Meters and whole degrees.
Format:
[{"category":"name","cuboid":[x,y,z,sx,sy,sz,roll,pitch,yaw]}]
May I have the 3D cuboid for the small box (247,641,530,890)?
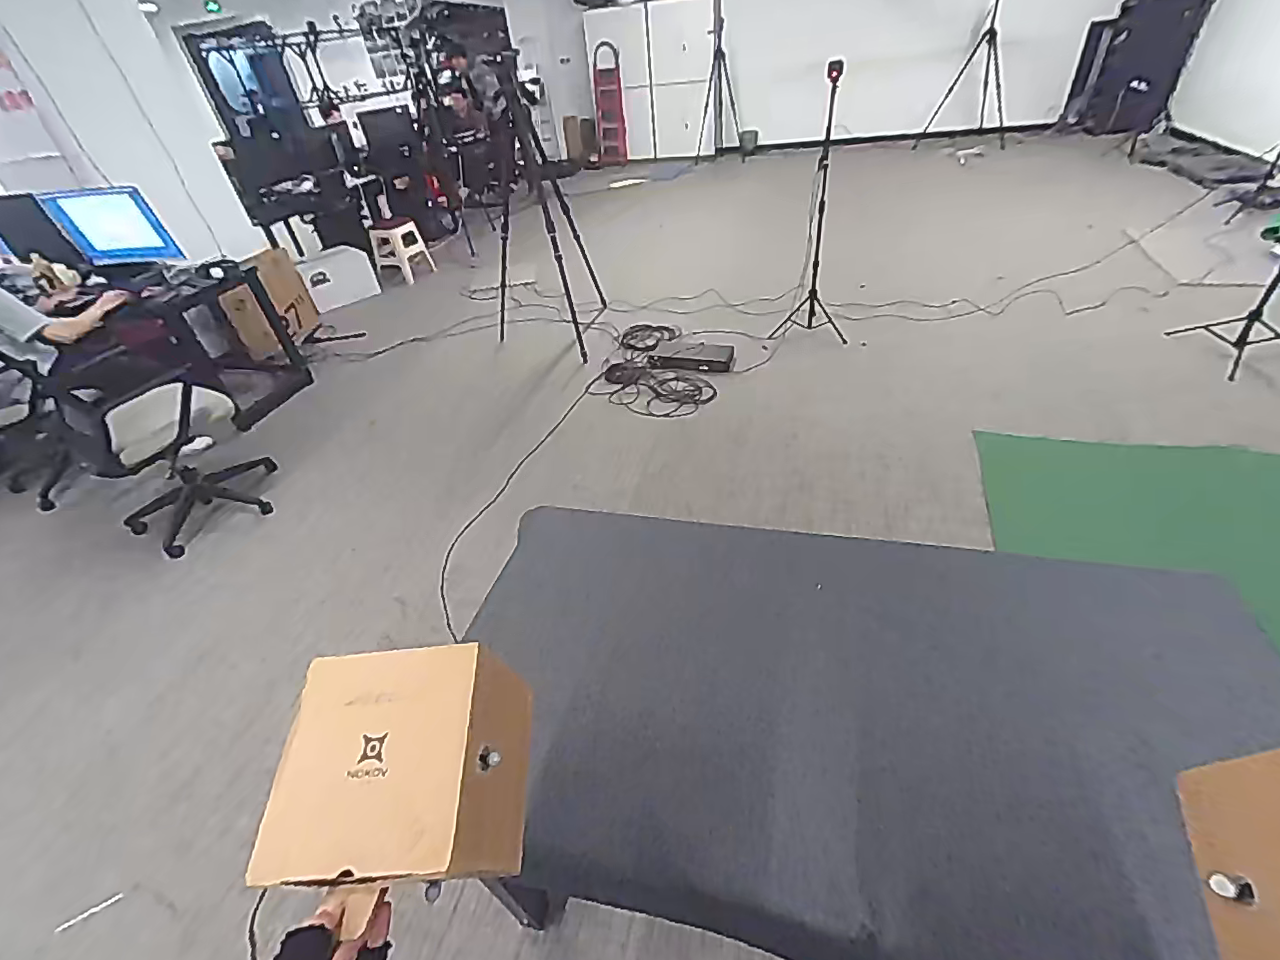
[{"category":"small box","cuboid":[-0.210,0.271,0.512,0.168,0.176,0.179,-7,54,4]}]
